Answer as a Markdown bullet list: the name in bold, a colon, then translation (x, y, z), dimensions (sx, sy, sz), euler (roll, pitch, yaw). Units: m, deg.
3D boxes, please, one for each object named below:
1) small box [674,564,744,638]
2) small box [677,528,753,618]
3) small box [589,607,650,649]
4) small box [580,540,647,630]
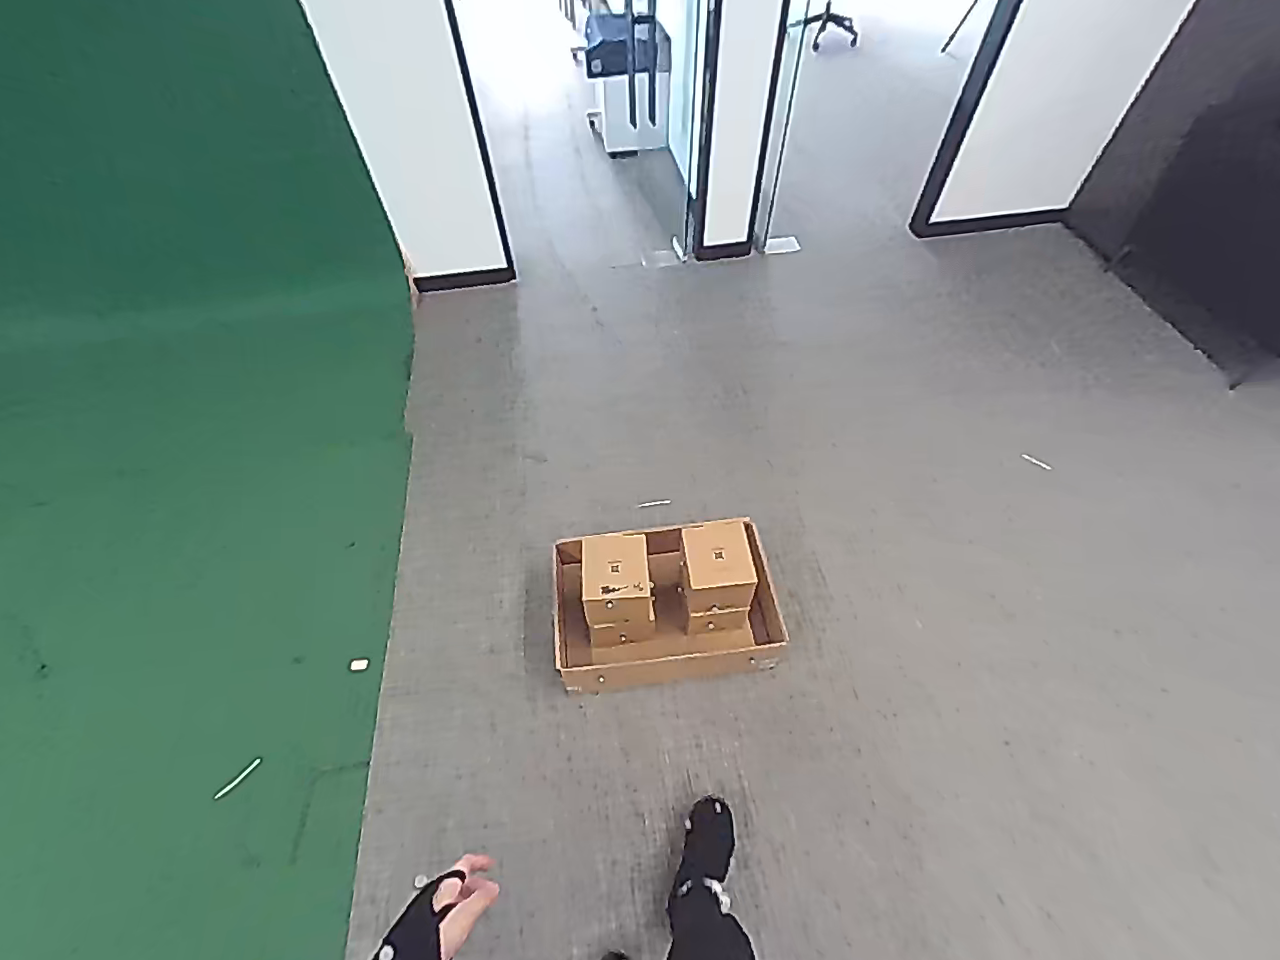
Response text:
- **small box**: translation (0.195, 0.348, 1.569), dimensions (0.168, 0.176, 0.179), euler (-7, 54, -4)
- **small box**: translation (0.191, 0.249, 1.439), dimensions (0.168, 0.176, 0.179), euler (-6, 54, -2)
- **small box**: translation (-0.065, 0.374, 1.548), dimensions (0.168, 0.176, 0.179), euler (-6, 54, -6)
- **small box**: translation (-0.069, 0.275, 1.416), dimensions (0.168, 0.176, 0.179), euler (-3, 53, -2)
